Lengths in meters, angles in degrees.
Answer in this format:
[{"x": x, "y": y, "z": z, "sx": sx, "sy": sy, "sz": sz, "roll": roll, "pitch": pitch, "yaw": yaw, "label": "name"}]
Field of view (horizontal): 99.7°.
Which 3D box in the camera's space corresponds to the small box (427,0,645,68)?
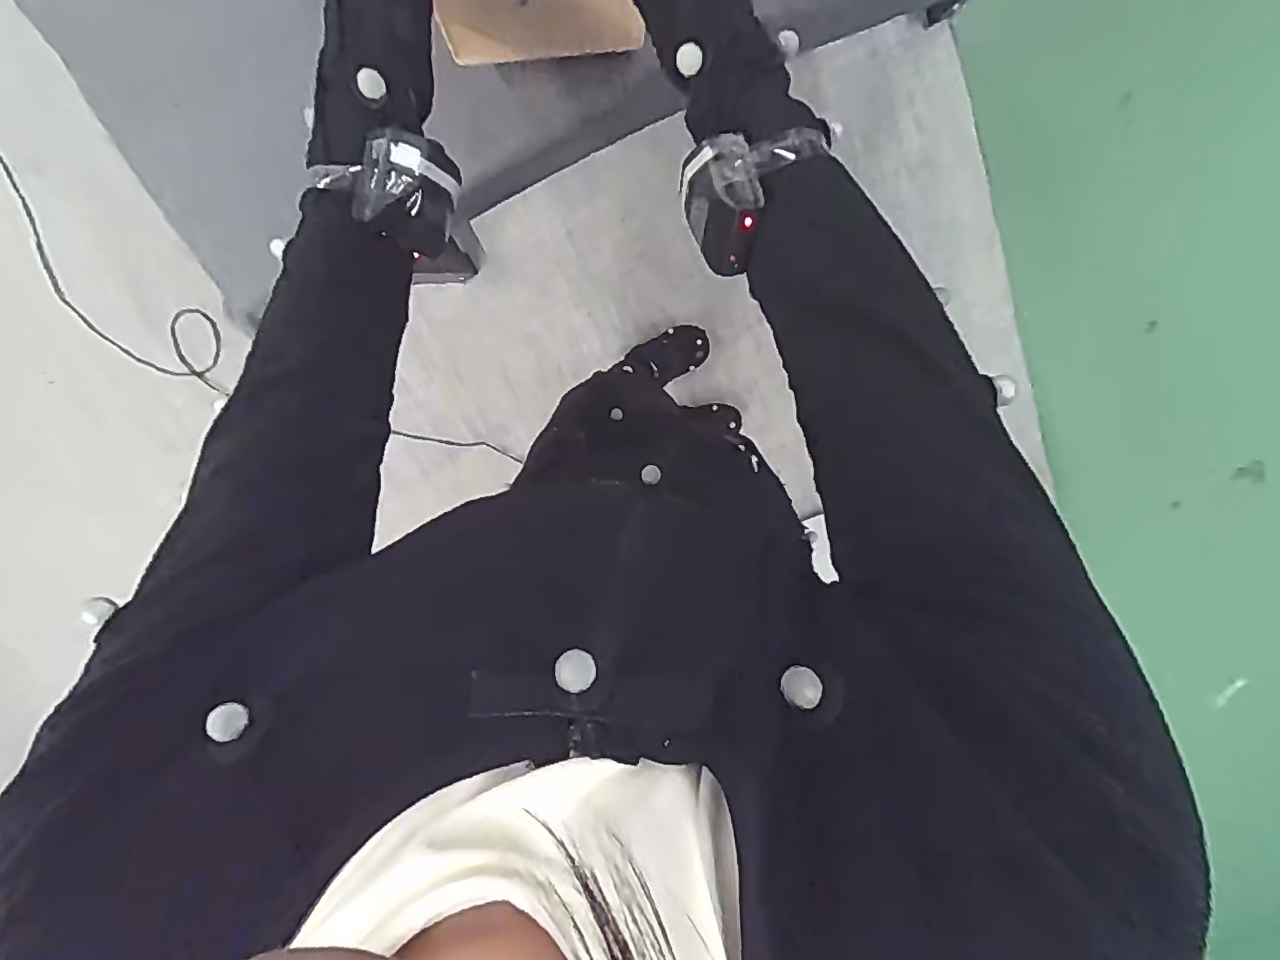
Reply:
[{"x": -0.089, "y": -0.451, "z": 0.410, "sx": 0.179, "sy": 0.176, "sz": 0.168, "roll": -5, "pitch": 100, "yaw": 0, "label": "small box"}]
